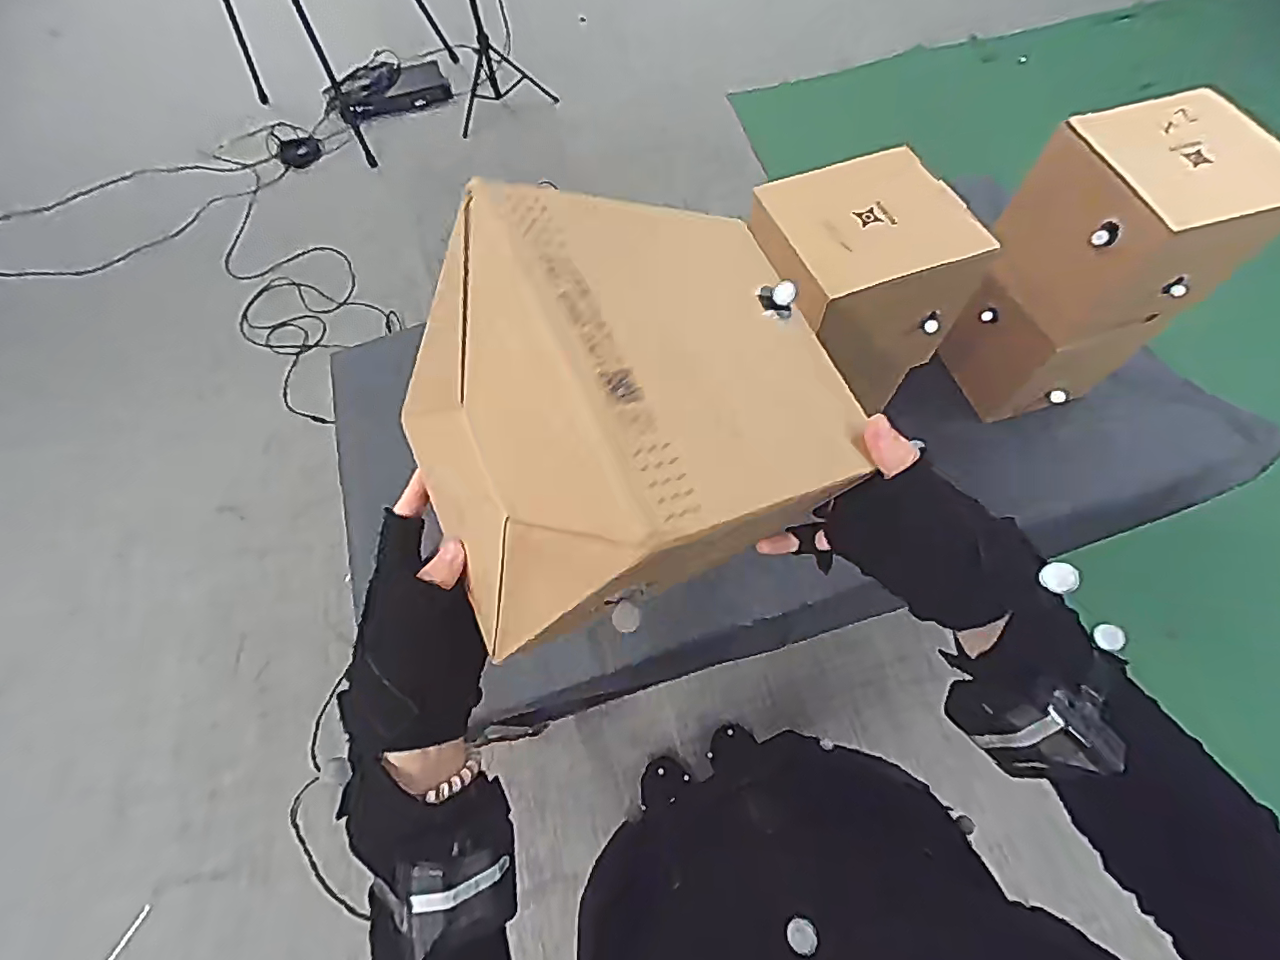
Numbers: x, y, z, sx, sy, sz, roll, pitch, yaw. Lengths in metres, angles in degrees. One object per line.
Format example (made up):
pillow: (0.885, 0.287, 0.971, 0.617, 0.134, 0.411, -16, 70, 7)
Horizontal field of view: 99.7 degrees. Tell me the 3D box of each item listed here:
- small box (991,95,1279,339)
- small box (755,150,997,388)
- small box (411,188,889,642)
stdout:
small box: (0.542, -0.279, 0.605, 0.168, 0.176, 0.179, -14, 64, -3)
small box: (0.227, -0.215, 0.593, 0.179, 0.176, 0.168, -18, 64, -5)
small box: (-0.010, -0.027, 0.304, 0.176, 0.179, 0.168, -13, 70, -41)
